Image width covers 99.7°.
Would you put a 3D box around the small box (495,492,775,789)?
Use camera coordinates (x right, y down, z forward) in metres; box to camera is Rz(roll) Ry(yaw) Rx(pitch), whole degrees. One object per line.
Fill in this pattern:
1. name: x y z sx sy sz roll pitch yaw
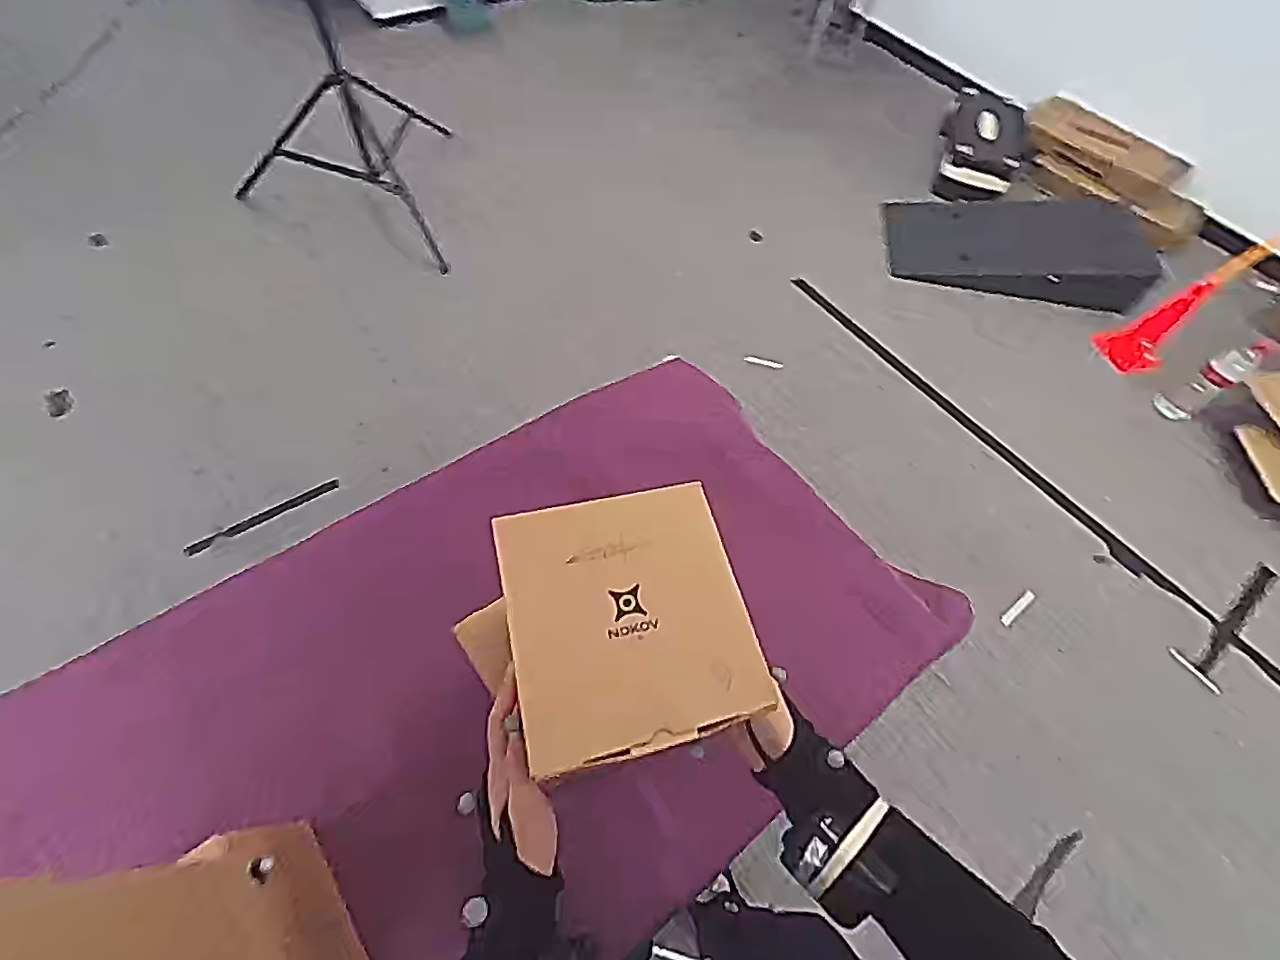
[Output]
1. small box: -0.018 0.134 0.443 0.168 0.176 0.179 -9 61 -15

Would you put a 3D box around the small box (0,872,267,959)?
1. small box: -0.331 0.370 0.308 0.168 0.176 0.179 -38 71 -23

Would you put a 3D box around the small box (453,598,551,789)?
1. small box: -0.079 0.211 0.606 0.168 0.176 0.179 -32 68 -21

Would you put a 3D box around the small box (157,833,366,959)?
1. small box: -0.361 0.436 0.457 0.168 0.176 0.179 -33 68 -21
